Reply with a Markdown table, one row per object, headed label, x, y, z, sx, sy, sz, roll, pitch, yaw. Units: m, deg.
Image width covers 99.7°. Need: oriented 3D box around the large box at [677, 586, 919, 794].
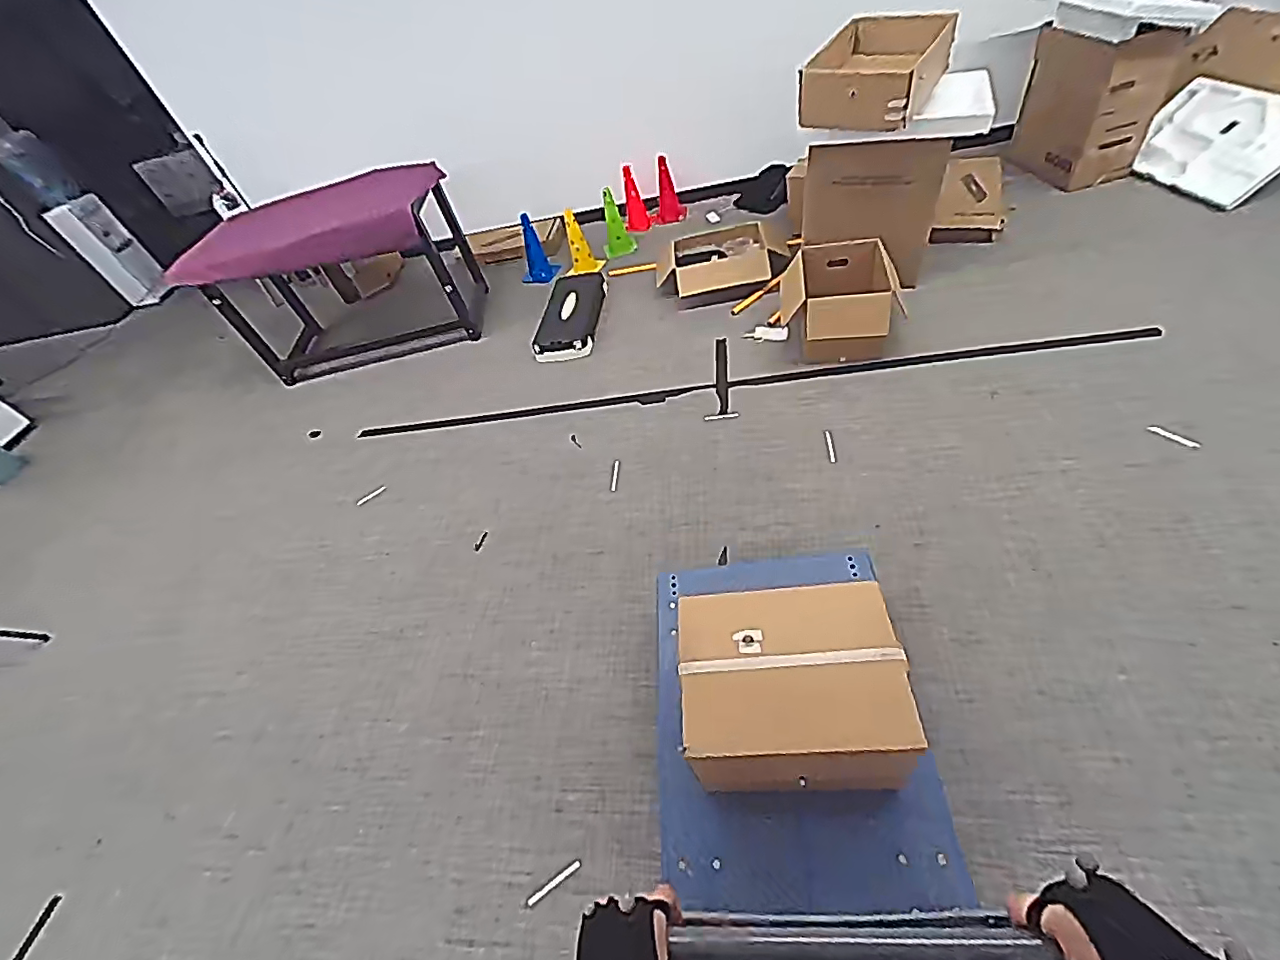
| label | x | y | z | sx | sy | sz | roll | pitch | yaw |
| --- | --- | --- | --- | --- | --- | --- | --- | --- | --- |
| large box | 0.309 | 0.454 | 1.140 | 0.408 | 0.320 | 0.320 | -8 | 48 | 10 |
